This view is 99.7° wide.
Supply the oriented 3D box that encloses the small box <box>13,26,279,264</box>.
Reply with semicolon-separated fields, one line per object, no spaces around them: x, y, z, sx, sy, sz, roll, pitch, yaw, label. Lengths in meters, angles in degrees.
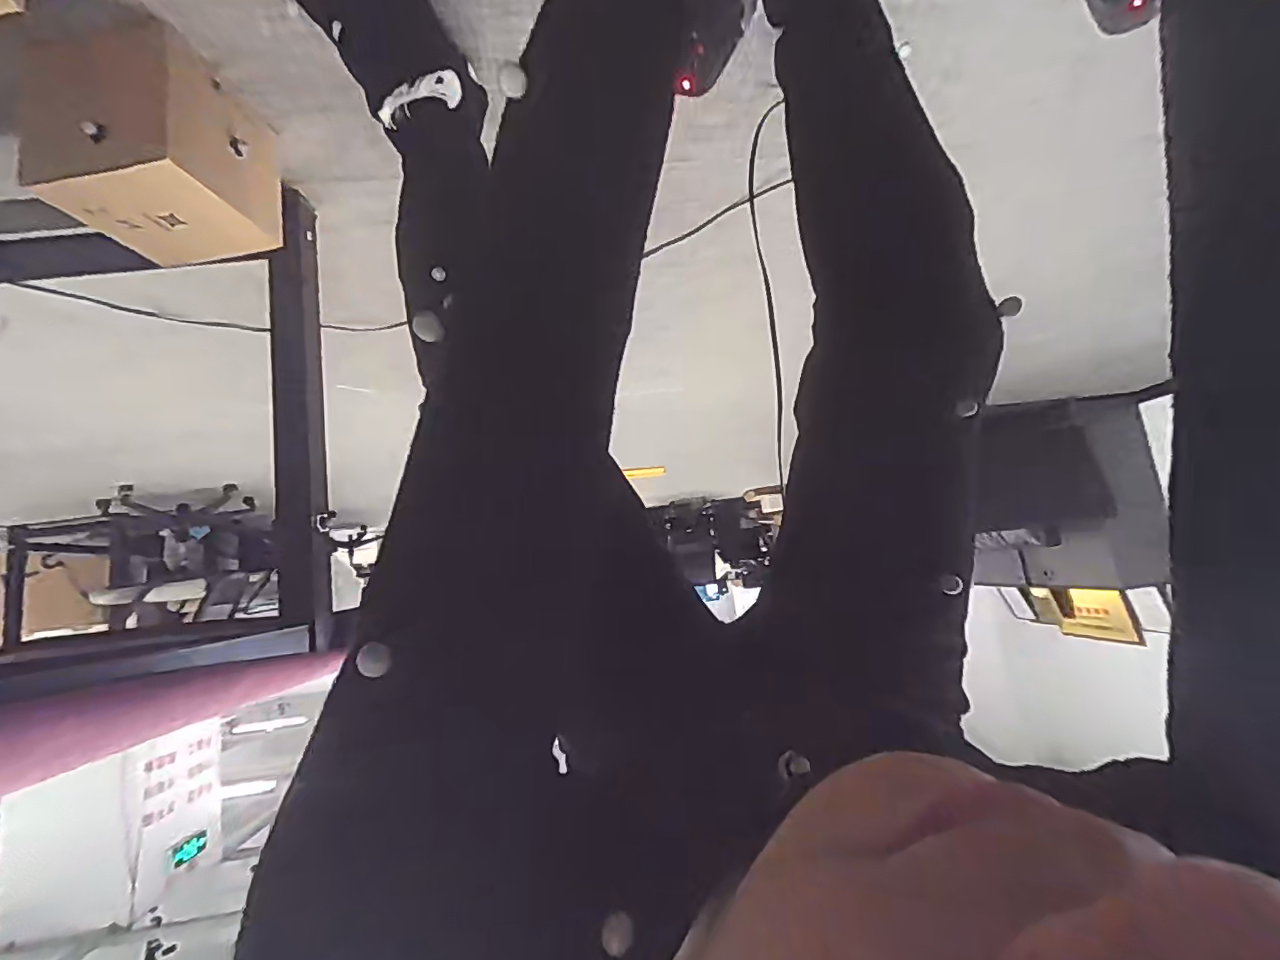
-0.572;-0.388;0.643;0.179;0.176;0.168;-8;171;3;small box
